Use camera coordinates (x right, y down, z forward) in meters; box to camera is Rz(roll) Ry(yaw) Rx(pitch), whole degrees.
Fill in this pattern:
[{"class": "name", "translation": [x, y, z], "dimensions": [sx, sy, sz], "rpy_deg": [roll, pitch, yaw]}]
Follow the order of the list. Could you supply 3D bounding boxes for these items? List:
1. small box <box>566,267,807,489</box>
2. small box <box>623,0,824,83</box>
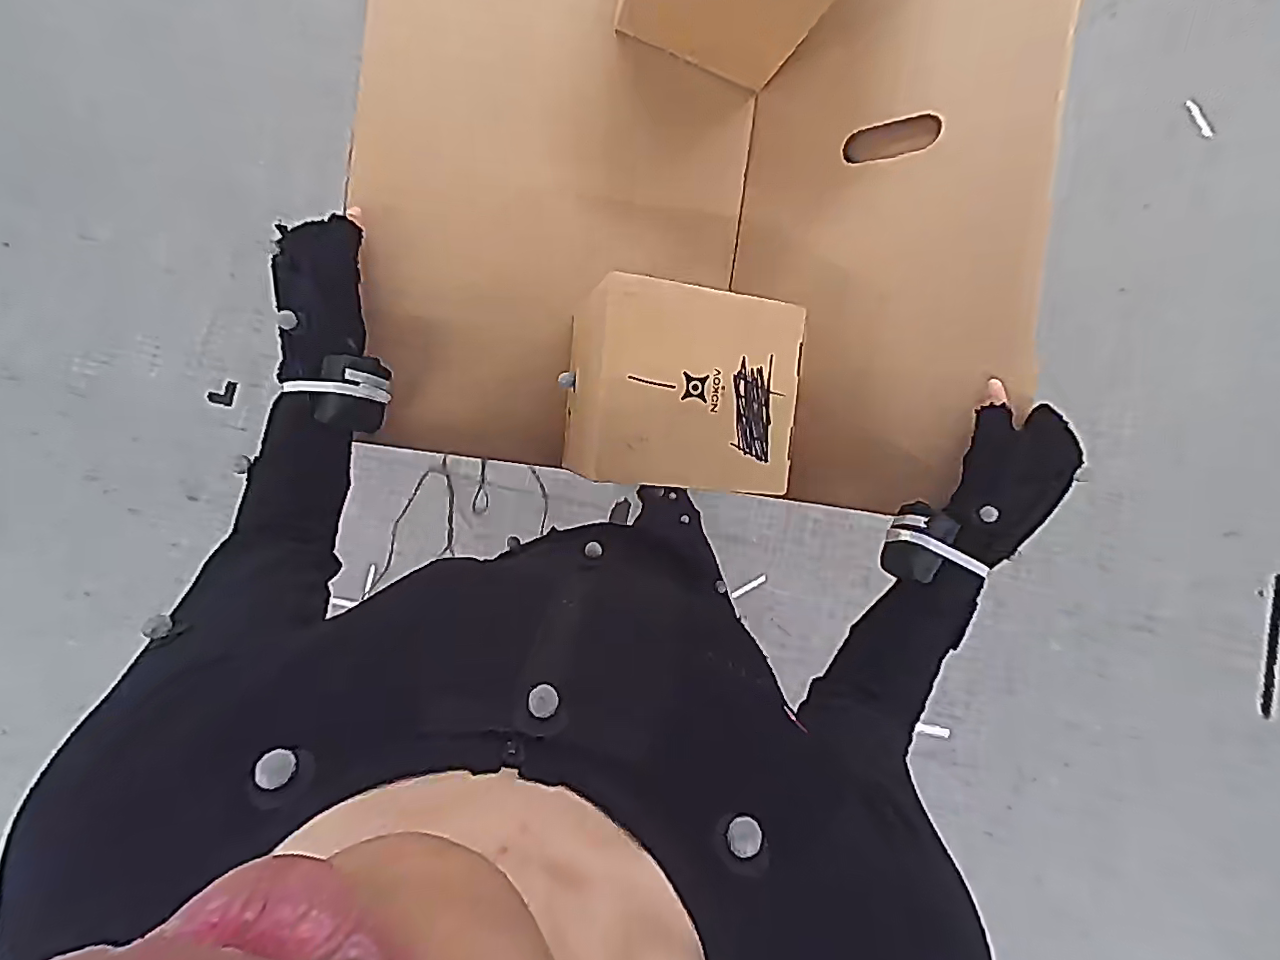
[{"class": "small box", "translation": [0.033, -0.088, 0.527], "dimensions": [0.179, 0.176, 0.168], "rpy_deg": [5, 93, -16]}, {"class": "small box", "translation": [0.096, -0.530, 0.513], "dimensions": [0.179, 0.176, 0.168], "rpy_deg": [11, 91, -18]}]
